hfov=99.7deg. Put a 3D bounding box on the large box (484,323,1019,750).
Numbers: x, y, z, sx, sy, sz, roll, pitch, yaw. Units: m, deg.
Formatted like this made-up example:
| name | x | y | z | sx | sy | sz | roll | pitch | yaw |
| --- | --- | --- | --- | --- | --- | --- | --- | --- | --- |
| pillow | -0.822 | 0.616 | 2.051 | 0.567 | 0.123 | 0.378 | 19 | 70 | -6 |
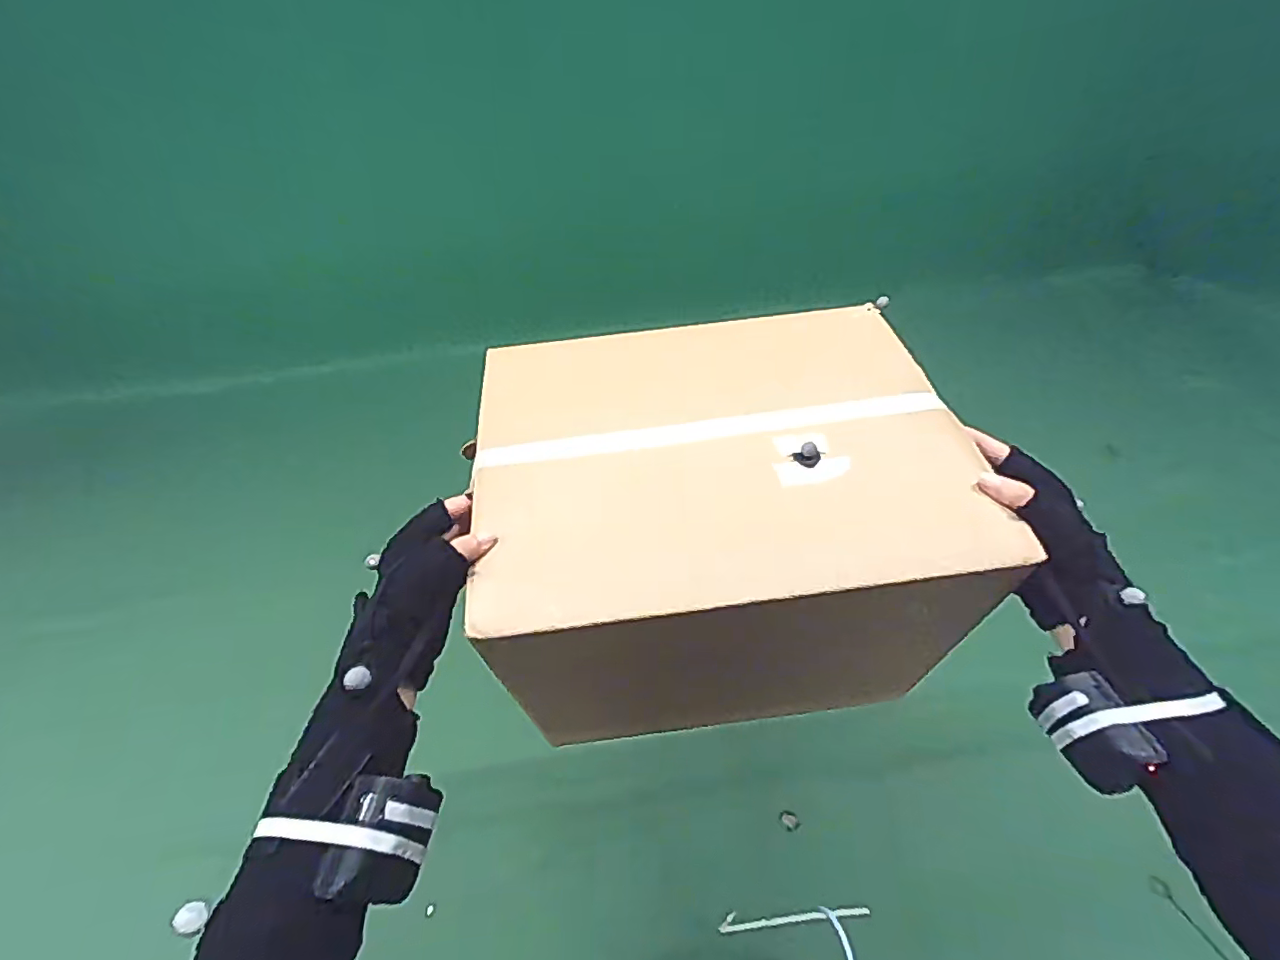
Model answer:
| name | x | y | z | sx | sy | sz | roll | pitch | yaw |
| --- | --- | --- | --- | --- | --- | --- | --- | --- | --- |
| large box | 0.070 | 0.066 | 0.593 | 0.408 | 0.320 | 0.320 | -7 | 51 | -3 |
